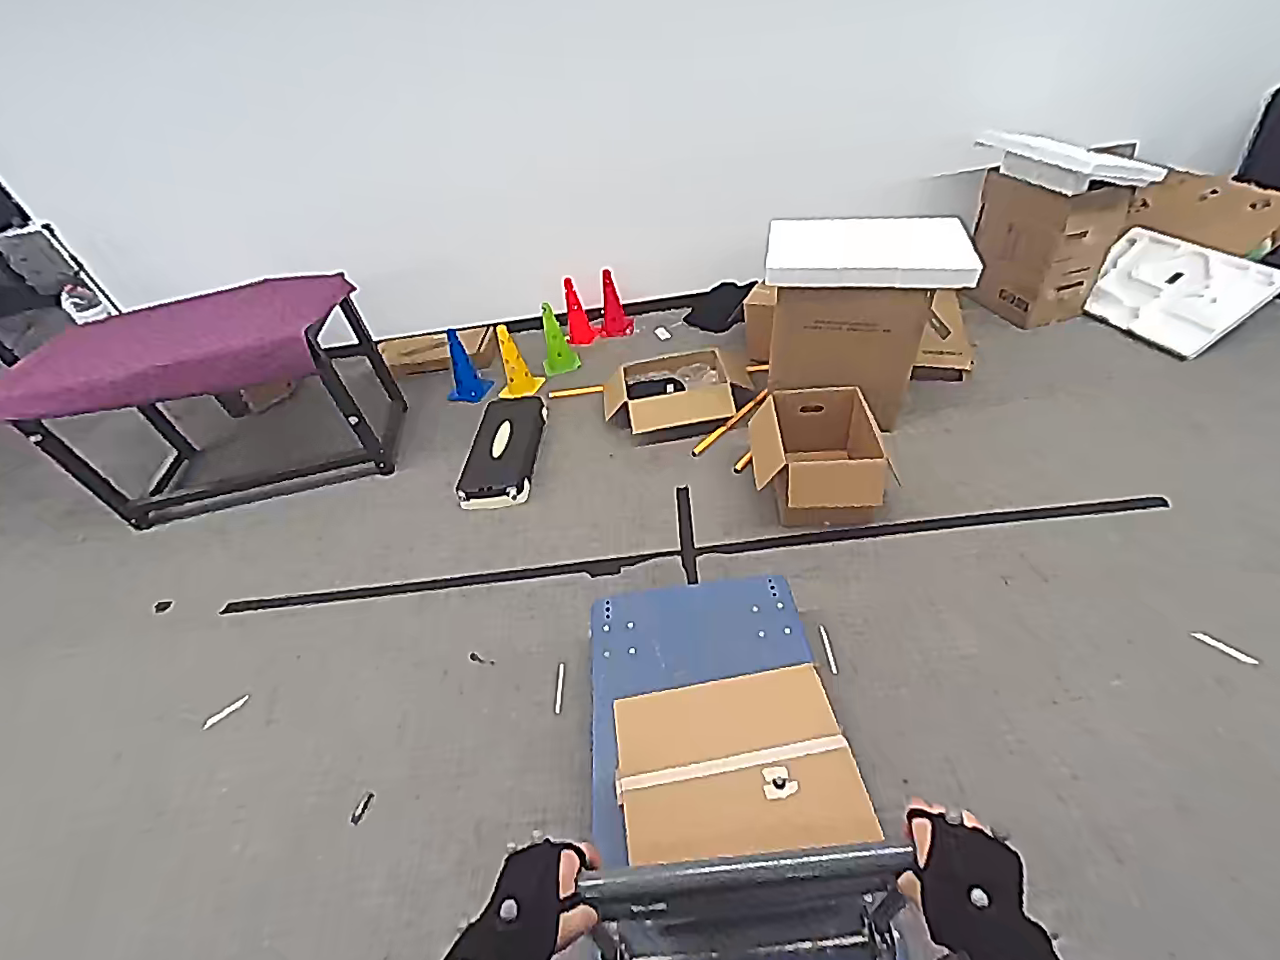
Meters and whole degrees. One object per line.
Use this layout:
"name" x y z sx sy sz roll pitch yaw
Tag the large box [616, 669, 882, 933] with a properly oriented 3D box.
"large box" 0.184 0.621 1.051 0.408 0.320 0.320 -10 42 -2
